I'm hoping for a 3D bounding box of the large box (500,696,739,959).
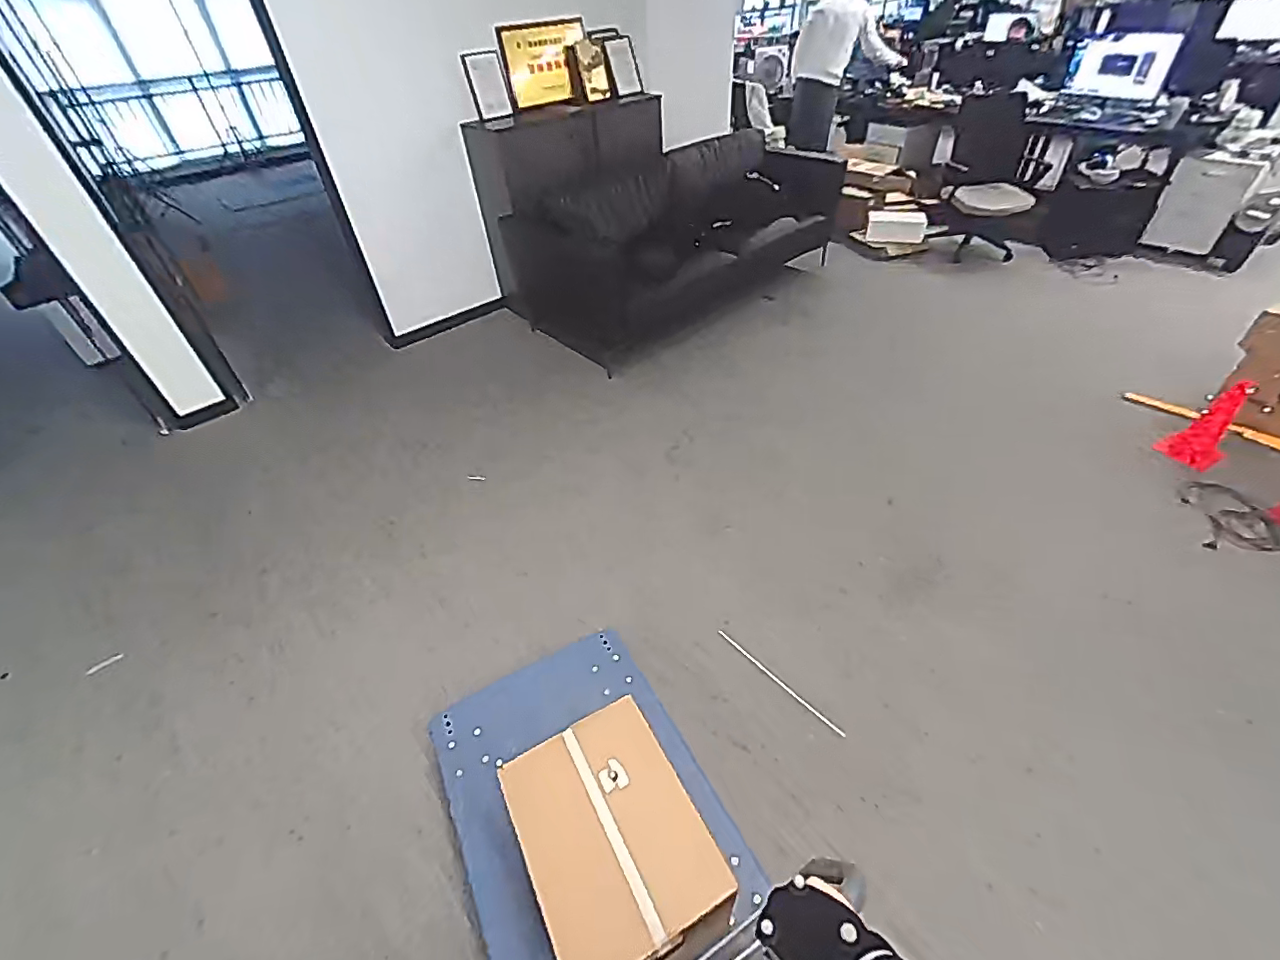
[{"bbox_3d":[-0.043,0.751,1.109,0.320,0.320,0.408,-23,44,-20],"label":"large box"}]
